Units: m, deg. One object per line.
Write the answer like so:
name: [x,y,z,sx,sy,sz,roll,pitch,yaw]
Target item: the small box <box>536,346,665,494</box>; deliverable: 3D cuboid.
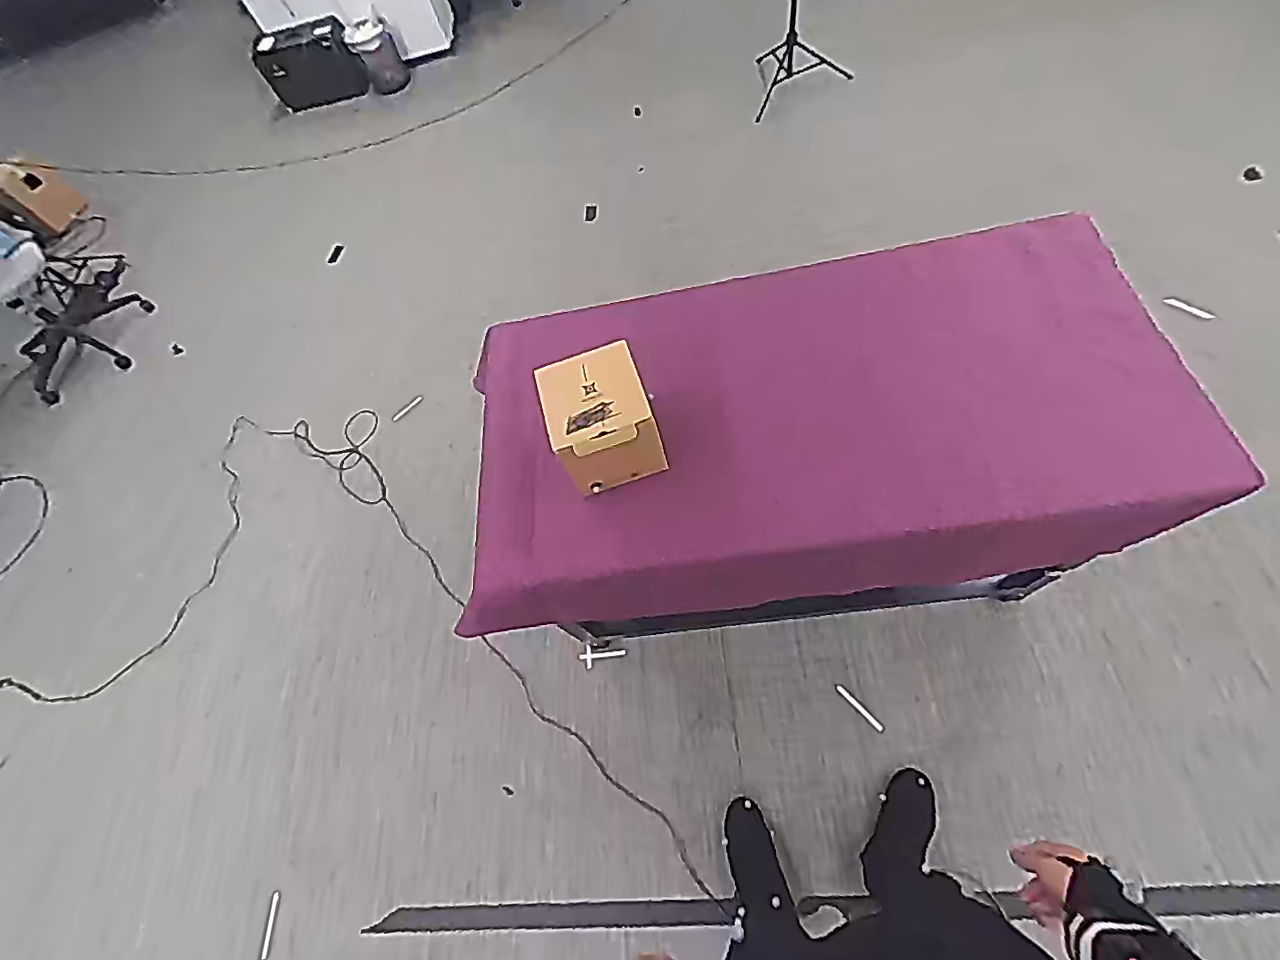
small box: [-0.064,-0.094,0.946,0.168,0.176,0.179,-19,60,1]
